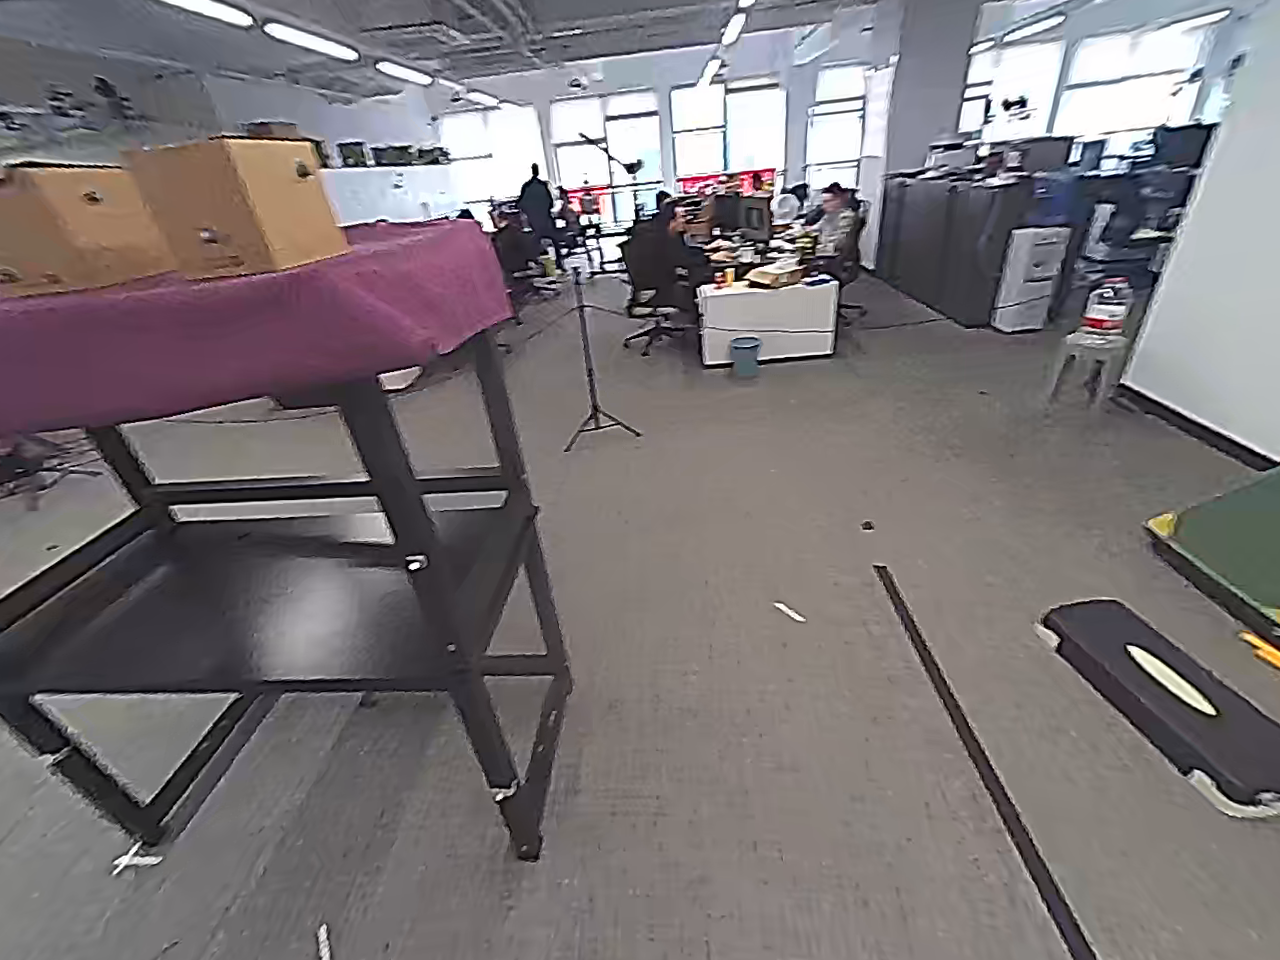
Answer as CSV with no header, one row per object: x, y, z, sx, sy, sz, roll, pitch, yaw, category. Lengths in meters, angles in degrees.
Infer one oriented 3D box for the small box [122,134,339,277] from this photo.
-0.589,-0.409,0.813,0.168,0.176,0.179,-2,30,10,small box

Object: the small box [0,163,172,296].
-0.917,-0.398,0.864,0.168,0.176,0.179,-6,29,2,small box
